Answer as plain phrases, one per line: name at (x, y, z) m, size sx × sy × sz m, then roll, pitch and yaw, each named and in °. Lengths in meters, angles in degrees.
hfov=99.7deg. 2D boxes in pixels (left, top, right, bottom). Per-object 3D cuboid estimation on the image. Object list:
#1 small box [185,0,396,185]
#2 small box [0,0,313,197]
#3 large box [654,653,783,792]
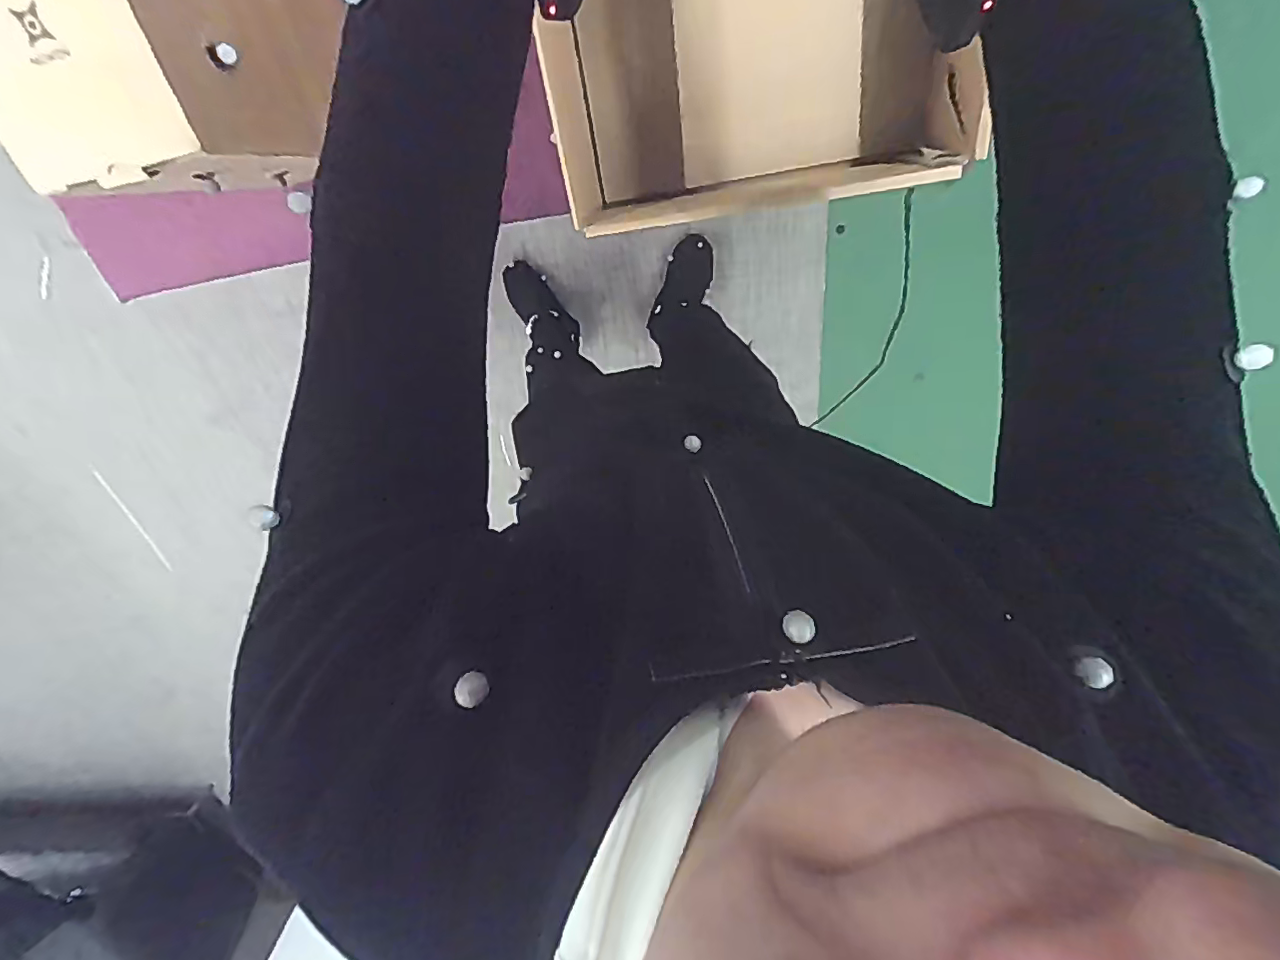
small box at (-0.411, -0.435, 0.598) m, size 0.179 × 0.176 × 0.168 m, roll -8°, pitch 120°, yaw 9°
small box at (-0.424, -0.355, 0.455) m, size 0.168 × 0.176 × 0.179 m, roll -7°, pitch 120°, yaw 8°
large box at (0.304, 0.976, 2.184) m, size 0.408 × 0.320 × 0.320 m, roll -35°, pitch 114°, yaw 21°
